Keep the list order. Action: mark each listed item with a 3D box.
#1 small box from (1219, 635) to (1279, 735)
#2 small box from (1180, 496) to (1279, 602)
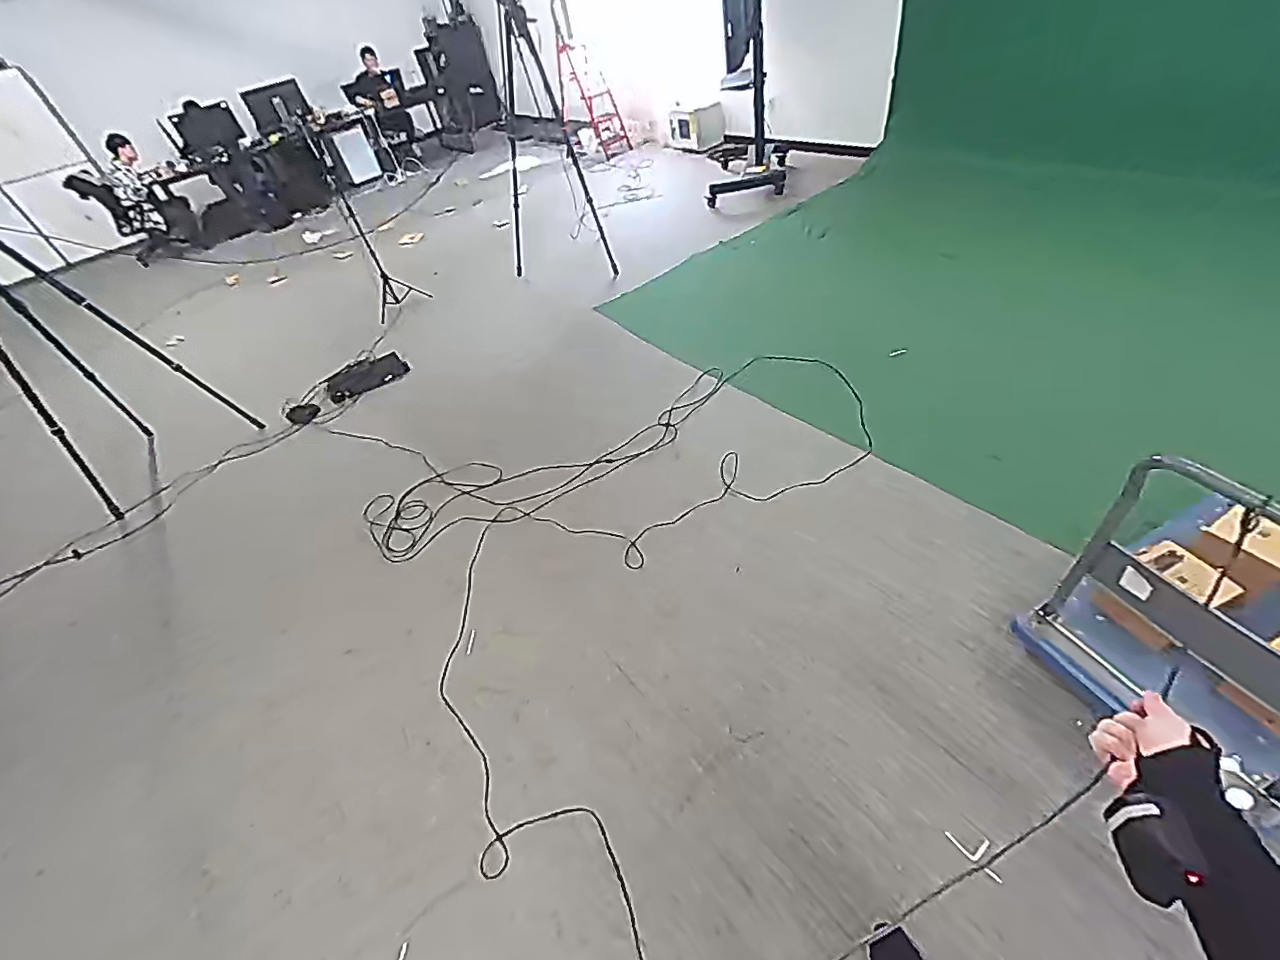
[{"bbox_3d":[1.444,0.436,1.176,0.179,0.176,0.168,-25,45,-10],"label":"small box"},{"bbox_3d":[1.564,0.181,1.395,0.179,0.176,0.168,-28,47,-13],"label":"small box"}]
